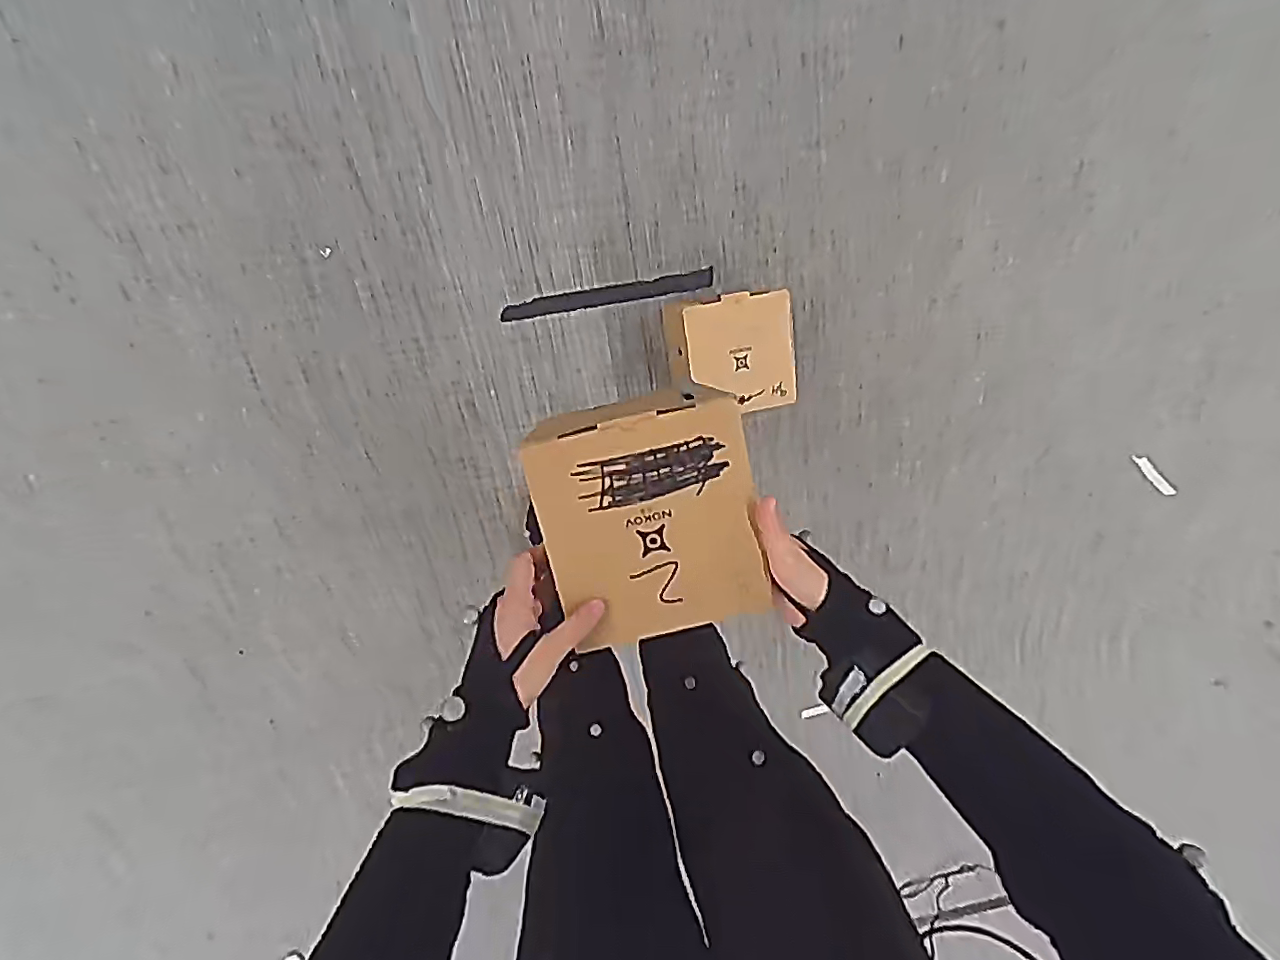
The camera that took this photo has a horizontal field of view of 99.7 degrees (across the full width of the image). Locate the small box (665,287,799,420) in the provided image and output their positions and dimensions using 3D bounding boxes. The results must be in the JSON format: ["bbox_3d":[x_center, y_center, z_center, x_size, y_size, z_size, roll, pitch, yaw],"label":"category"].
[{"bbox_3d":[0.144,-0.210,0.887,0.168,0.176,0.179,-11,109,-5],"label":"small box"}]
